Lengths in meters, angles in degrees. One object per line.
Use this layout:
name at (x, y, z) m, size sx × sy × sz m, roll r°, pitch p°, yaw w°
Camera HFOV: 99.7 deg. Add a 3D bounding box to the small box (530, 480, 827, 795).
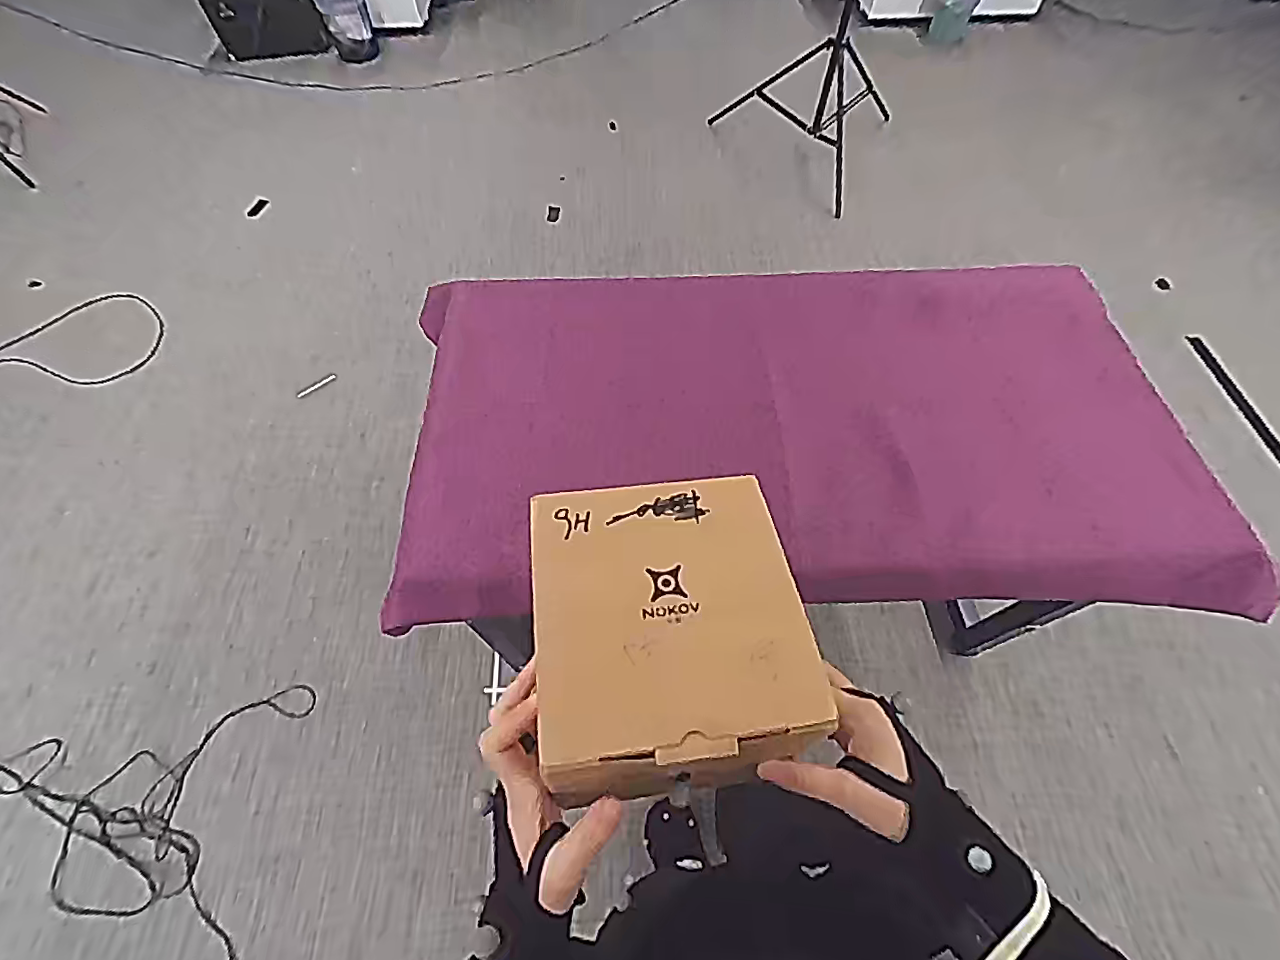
small box at (0.011, 0.124, 0.404) m, size 0.168 × 0.176 × 0.179 m, roll -5°, pitch 54°, yaw -7°
